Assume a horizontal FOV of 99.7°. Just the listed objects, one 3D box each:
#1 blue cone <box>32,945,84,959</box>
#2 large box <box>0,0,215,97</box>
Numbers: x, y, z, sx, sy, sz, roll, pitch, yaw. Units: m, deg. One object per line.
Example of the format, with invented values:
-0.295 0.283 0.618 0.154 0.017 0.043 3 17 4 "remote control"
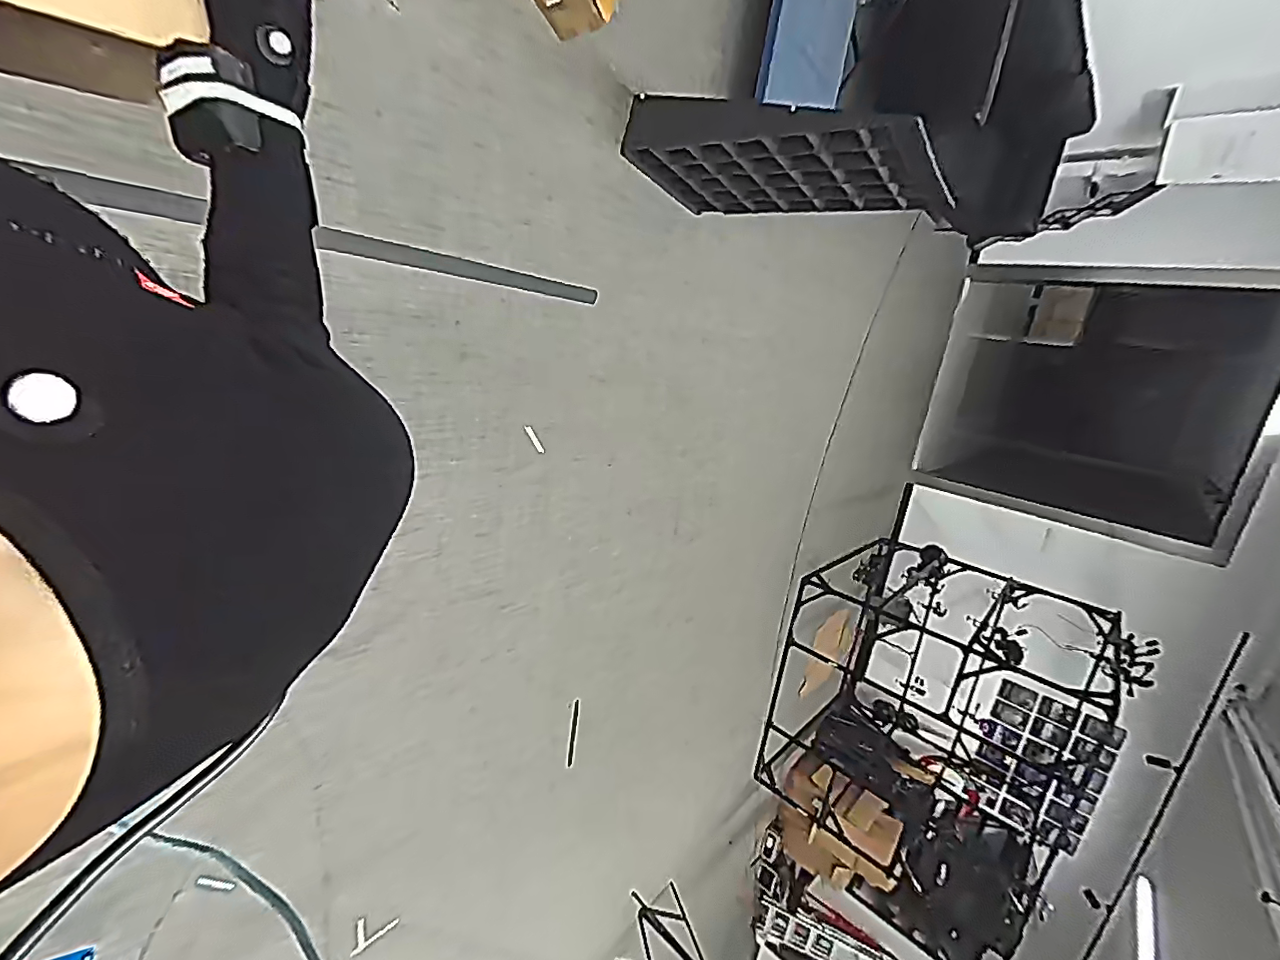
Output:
-1.339 1.259 1.167 0.193 0.380 0.192 26 85 -52 "blue cone"
-0.546 -0.465 0.299 0.408 0.320 0.320 -16 121 -47 "large box"
